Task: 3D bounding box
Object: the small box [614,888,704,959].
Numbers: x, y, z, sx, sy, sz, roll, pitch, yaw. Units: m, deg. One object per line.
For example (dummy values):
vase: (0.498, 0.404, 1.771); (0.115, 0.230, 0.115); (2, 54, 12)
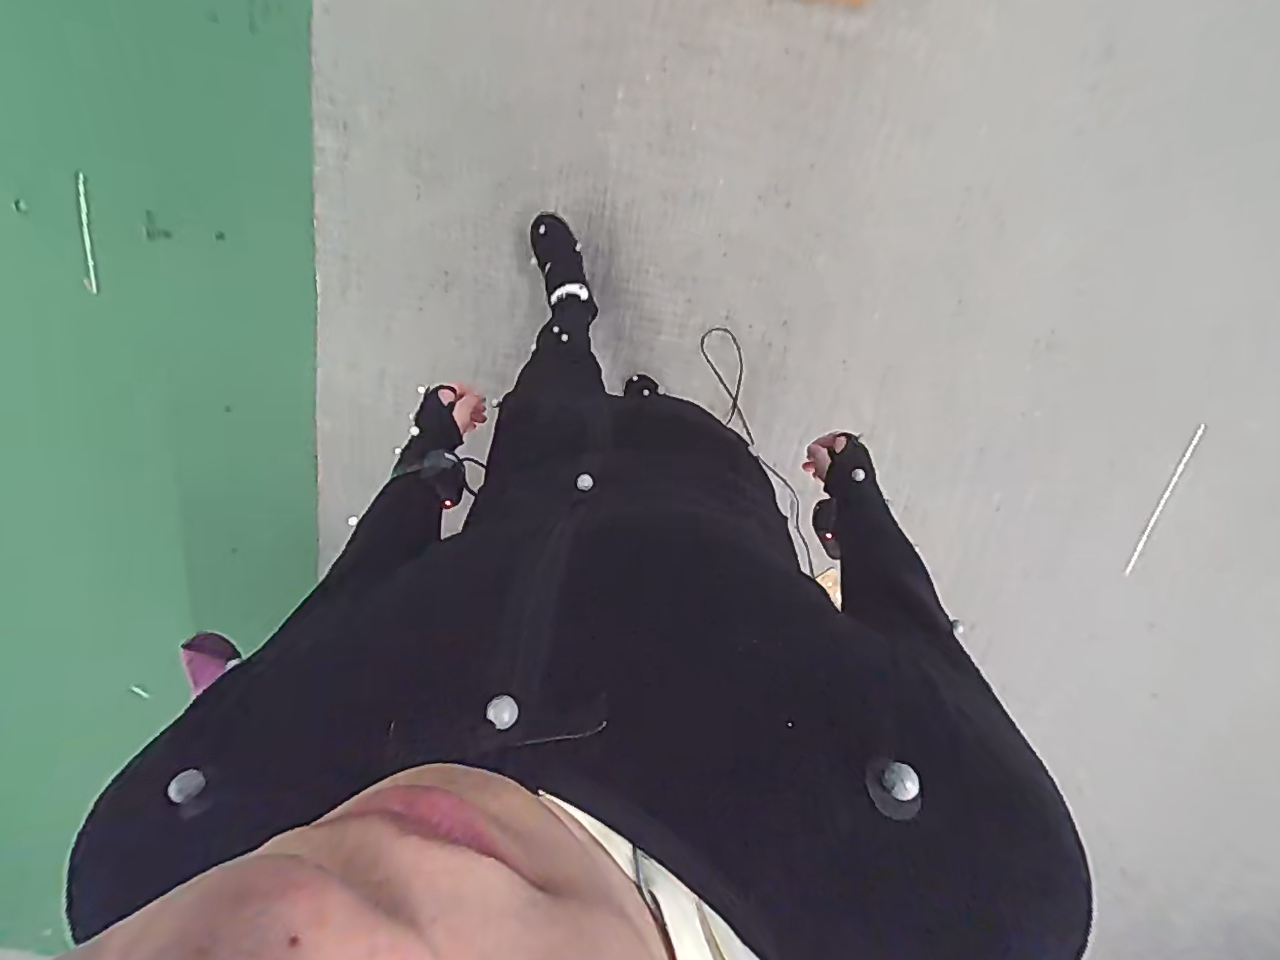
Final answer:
small box: (0.037, 0.991, 1.121); (0.179, 0.176, 0.168); (7, 108, 1)
